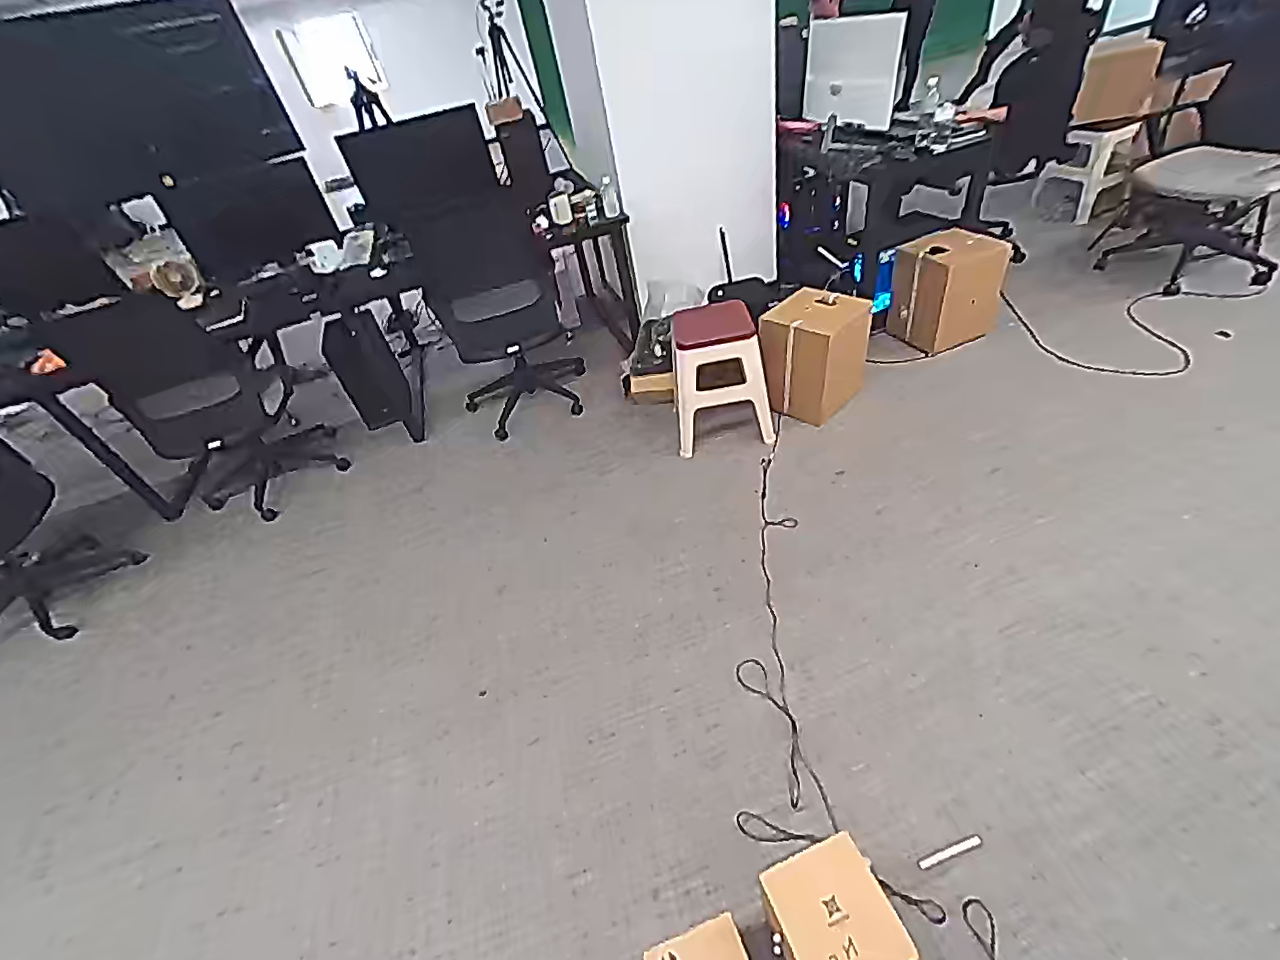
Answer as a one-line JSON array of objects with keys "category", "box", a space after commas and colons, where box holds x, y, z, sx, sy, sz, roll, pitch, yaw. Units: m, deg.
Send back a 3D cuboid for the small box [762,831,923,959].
[{"category": "small box", "box": [0.309, 0.711, 0.862, 0.168, 0.176, 0.179, -21, 42, -8]}]
